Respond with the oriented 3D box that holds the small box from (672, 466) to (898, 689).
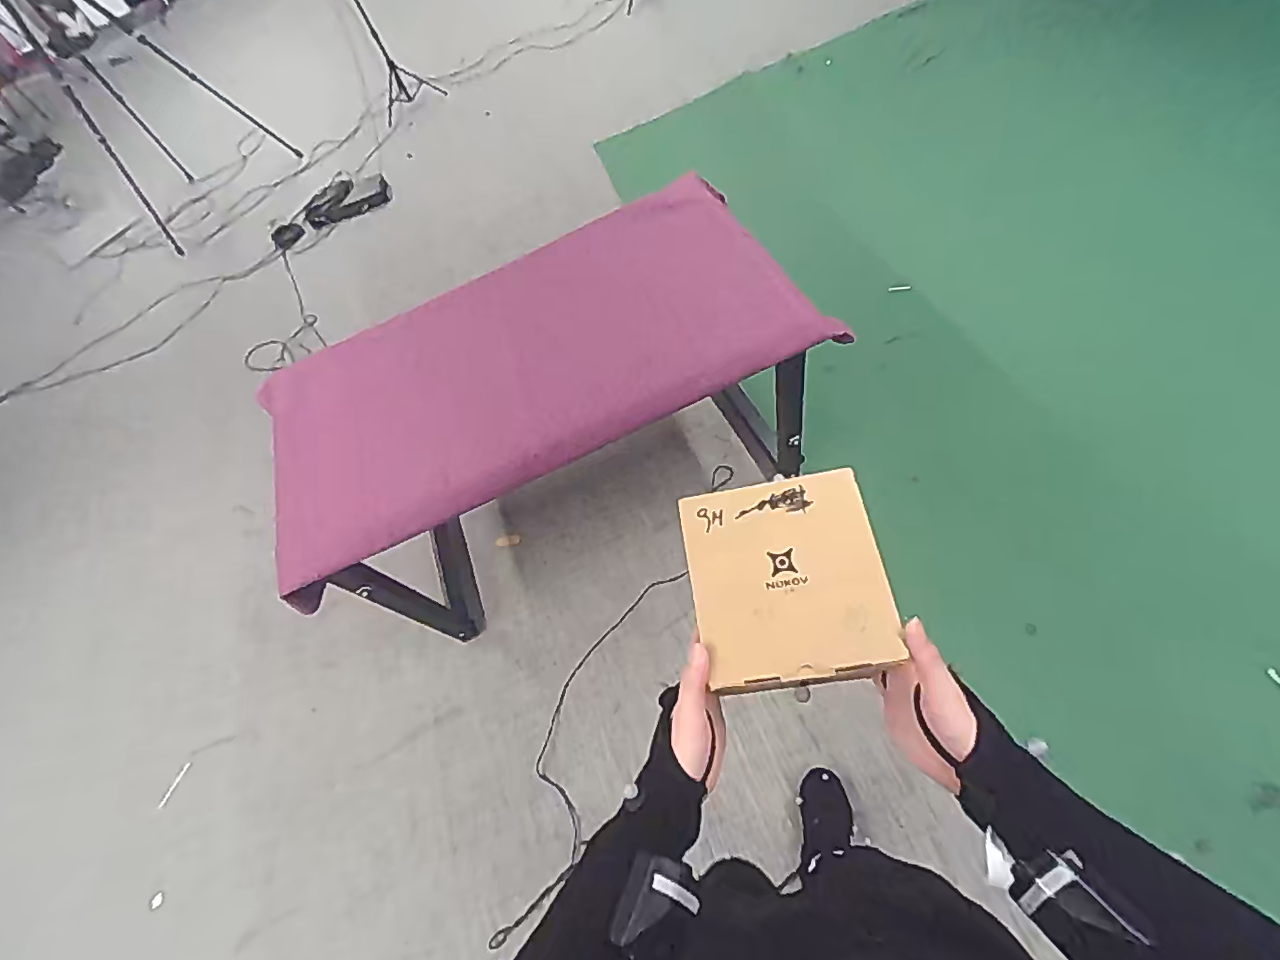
[{"bbox_3d":[0.137,0.109,0.547,0.168,0.176,0.179,-12,66,8],"label":"small box"}]
